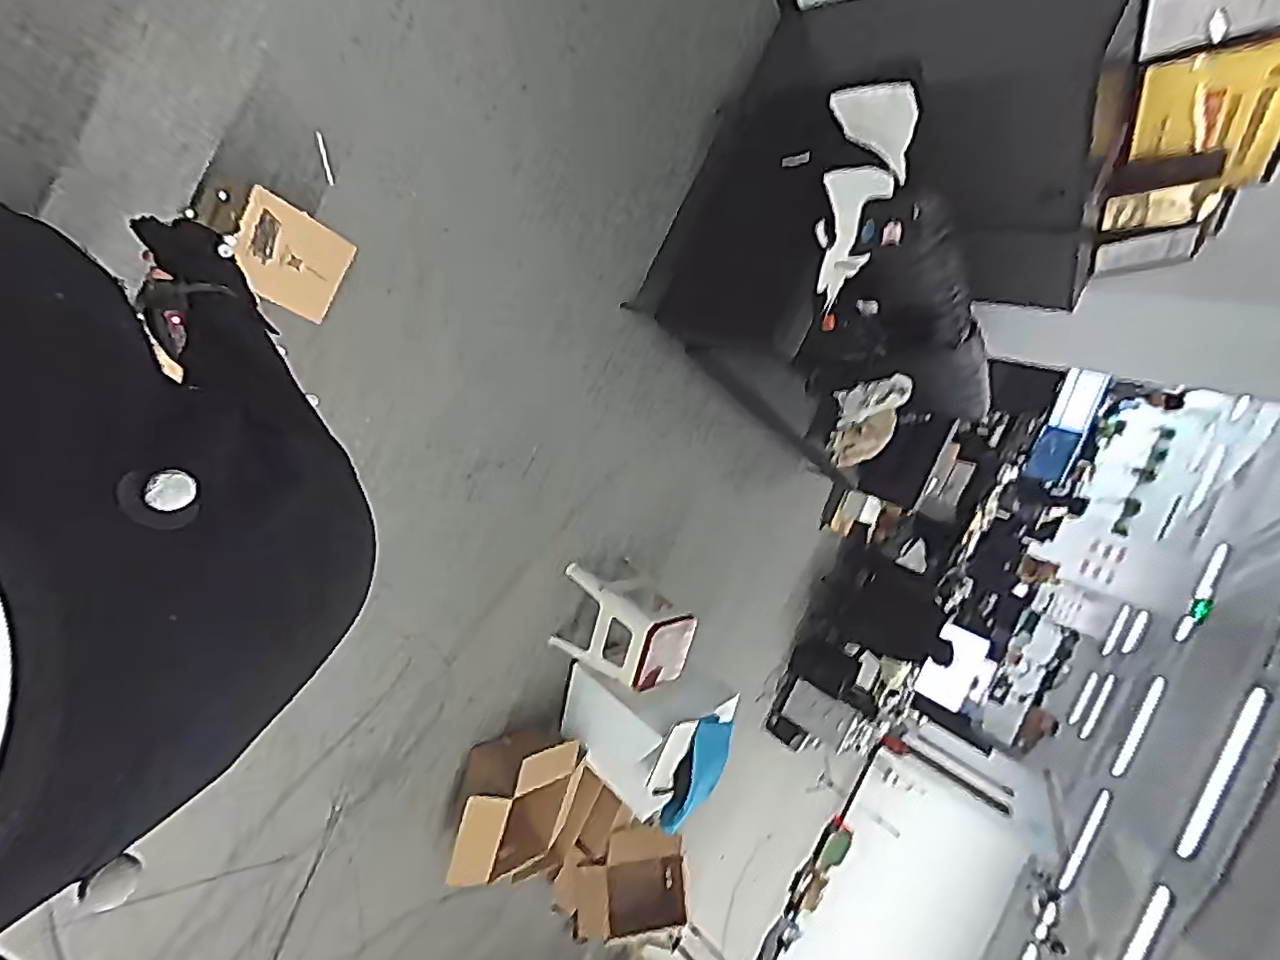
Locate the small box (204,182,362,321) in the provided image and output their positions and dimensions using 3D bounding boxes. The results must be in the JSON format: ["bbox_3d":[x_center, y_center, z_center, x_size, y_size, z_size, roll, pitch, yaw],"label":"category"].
[{"bbox_3d":[-0.667,-0.422,1.007,0.179,0.176,0.168,26,90,-53],"label":"small box"}]

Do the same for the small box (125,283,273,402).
[{"bbox_3d":[-0.893,-0.281,1.094,0.179,0.176,0.168,24,91,-51],"label":"small box"}]
